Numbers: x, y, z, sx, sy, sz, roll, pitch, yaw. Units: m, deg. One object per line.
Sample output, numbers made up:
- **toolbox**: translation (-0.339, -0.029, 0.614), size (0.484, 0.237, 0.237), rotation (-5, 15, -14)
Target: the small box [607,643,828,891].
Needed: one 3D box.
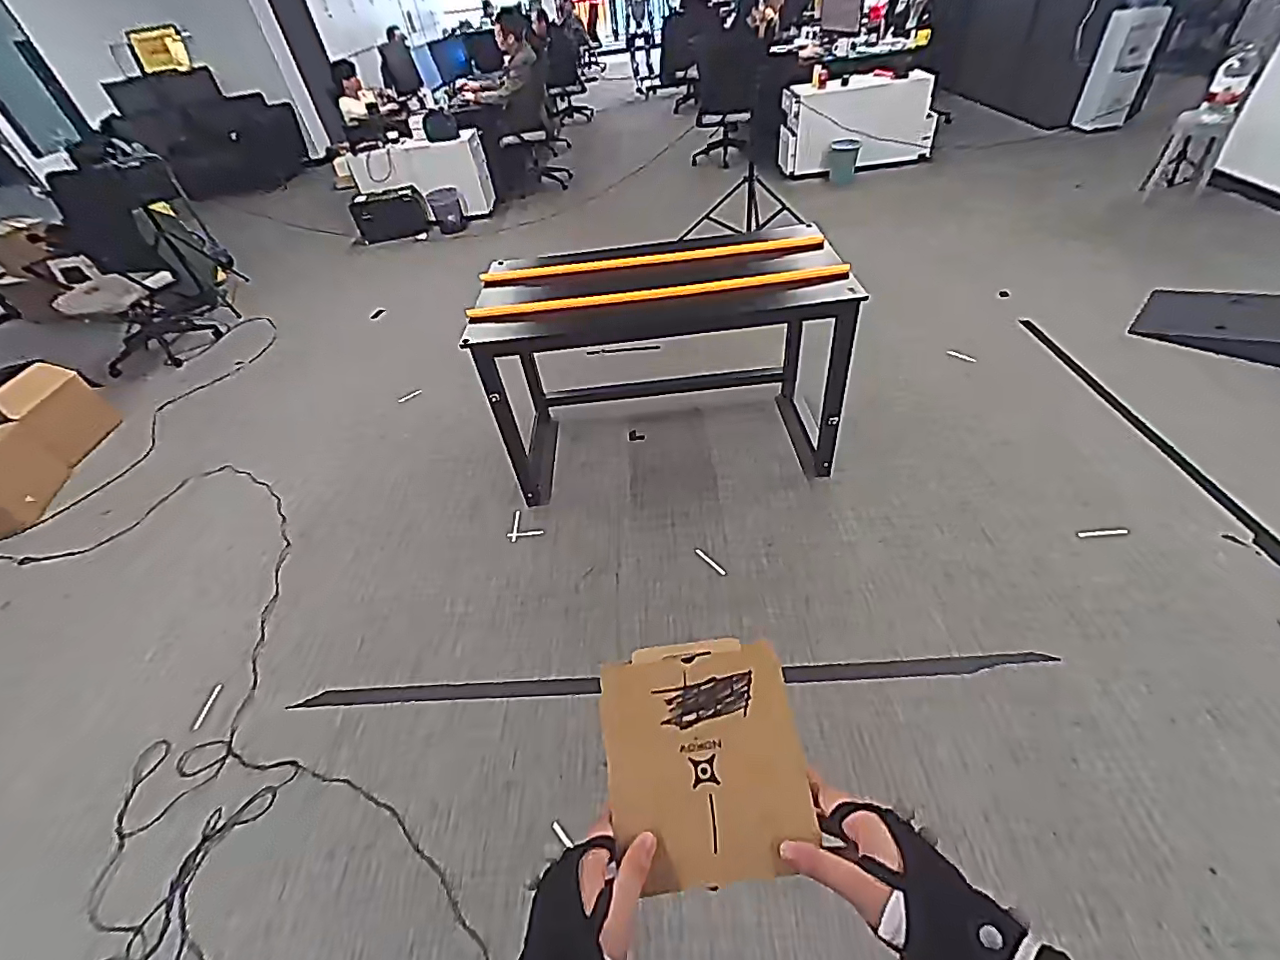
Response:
- **small box**: translation (0.063, 0.276, 0.531), size (0.168, 0.176, 0.179), rotation (-8, 60, 1)
